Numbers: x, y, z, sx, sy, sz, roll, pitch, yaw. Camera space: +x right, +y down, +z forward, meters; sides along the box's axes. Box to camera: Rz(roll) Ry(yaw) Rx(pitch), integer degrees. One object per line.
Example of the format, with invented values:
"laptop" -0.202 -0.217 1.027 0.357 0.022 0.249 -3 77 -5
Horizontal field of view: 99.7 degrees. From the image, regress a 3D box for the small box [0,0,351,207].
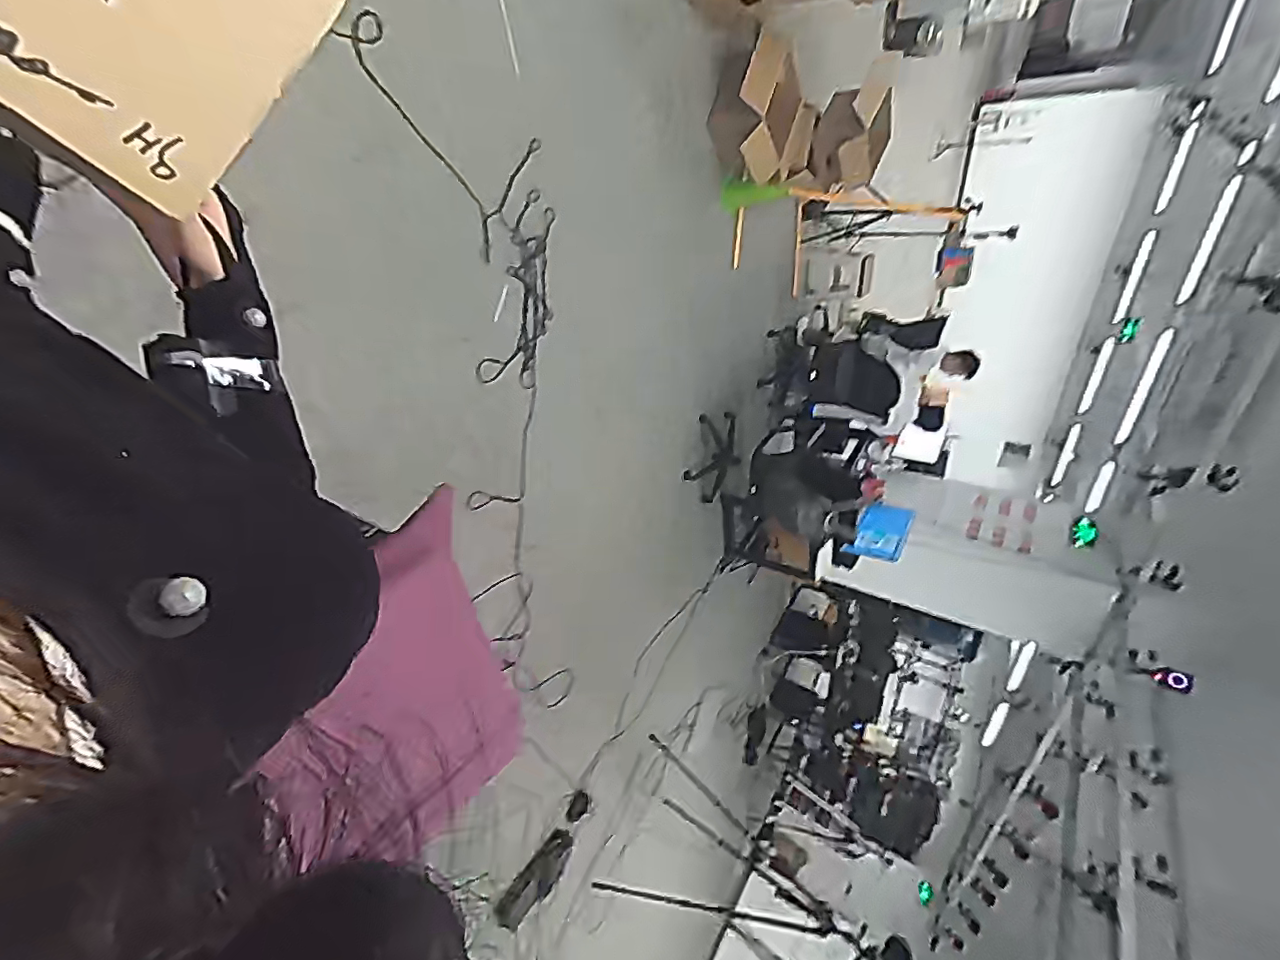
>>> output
"small box" -0.303 -0.287 0.278 0.179 0.176 0.168 -60 158 -7
